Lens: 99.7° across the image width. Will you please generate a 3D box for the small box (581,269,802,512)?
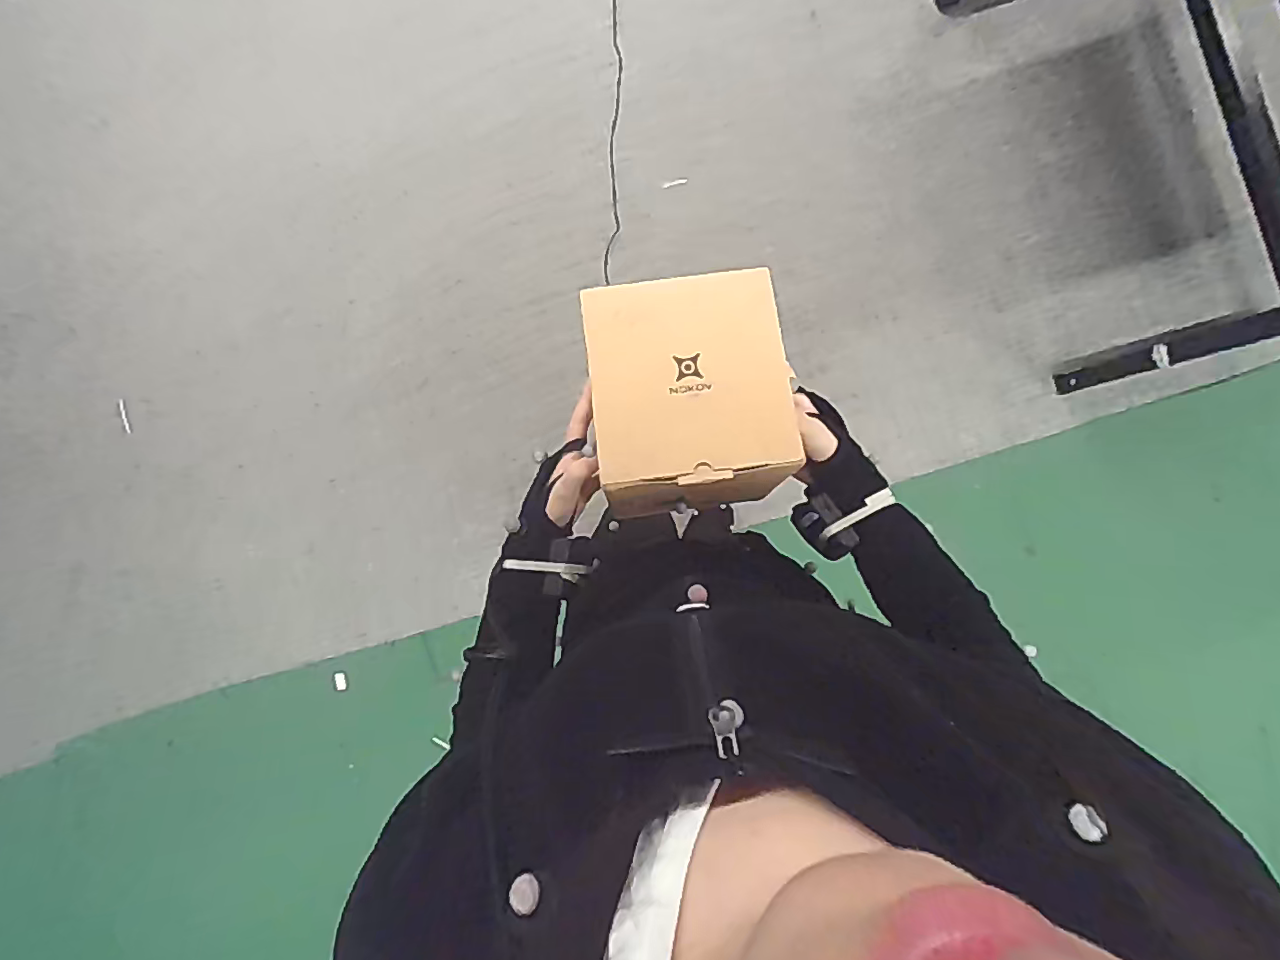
[{"bbox_3d":[0.039,-0.074,0.528,0.168,0.176,0.179,-8,79,-1],"label":"small box"}]
